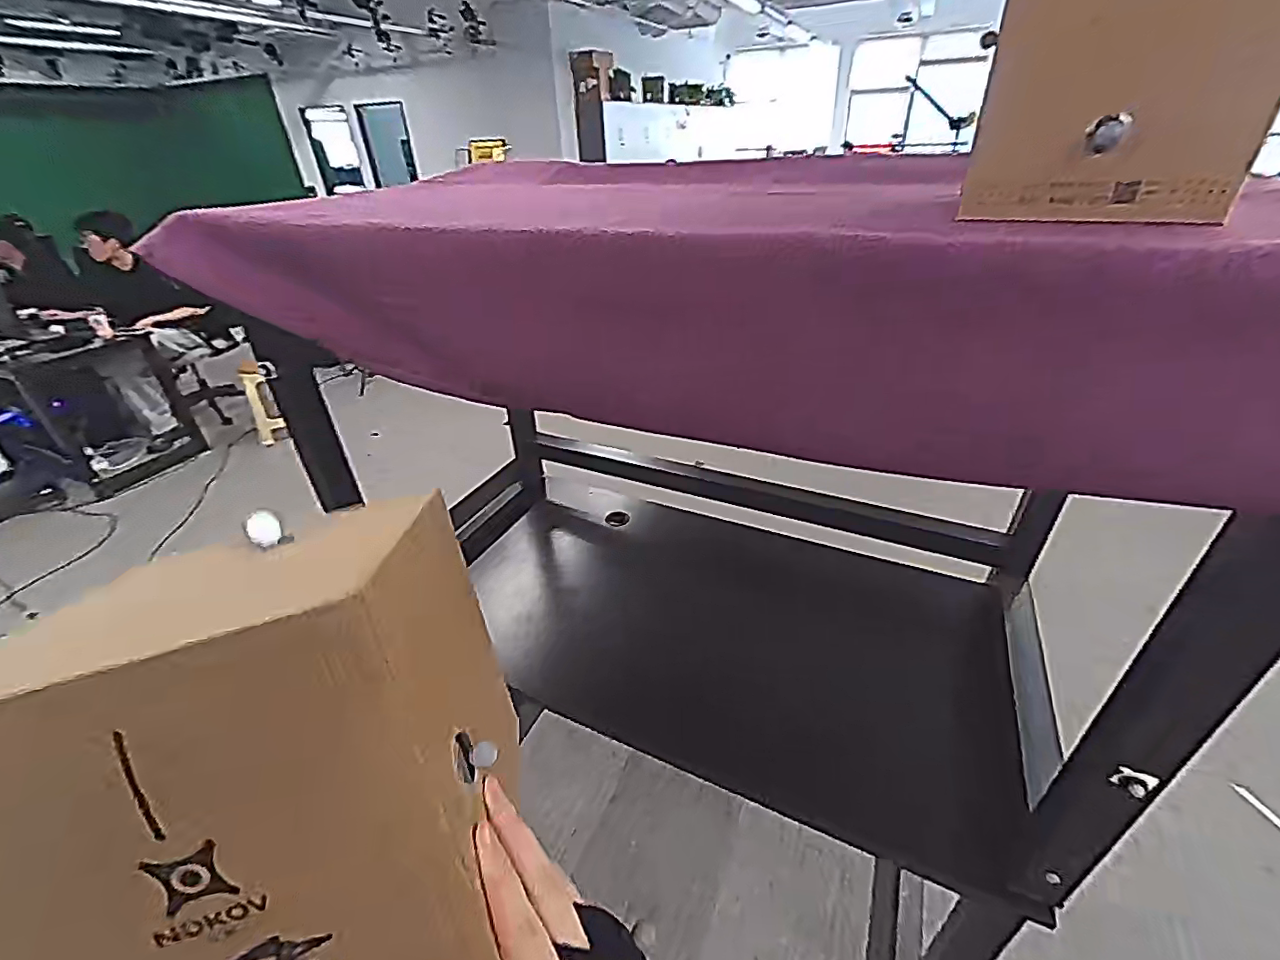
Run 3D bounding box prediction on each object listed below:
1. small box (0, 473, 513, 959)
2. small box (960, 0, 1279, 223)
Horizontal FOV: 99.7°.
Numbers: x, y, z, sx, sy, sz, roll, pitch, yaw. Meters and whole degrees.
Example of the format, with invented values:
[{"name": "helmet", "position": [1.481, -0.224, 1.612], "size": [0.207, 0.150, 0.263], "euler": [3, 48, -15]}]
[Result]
[{"name": "small box", "position": [-0.161, 0.110, 0.251], "size": [0.168, 0.179, 0.176], "euler": [-15, 14, -8]}, {"name": "small box", "position": [0.362, -0.303, 0.416], "size": [0.168, 0.176, 0.179], "euler": [14, 36, 26]}]
